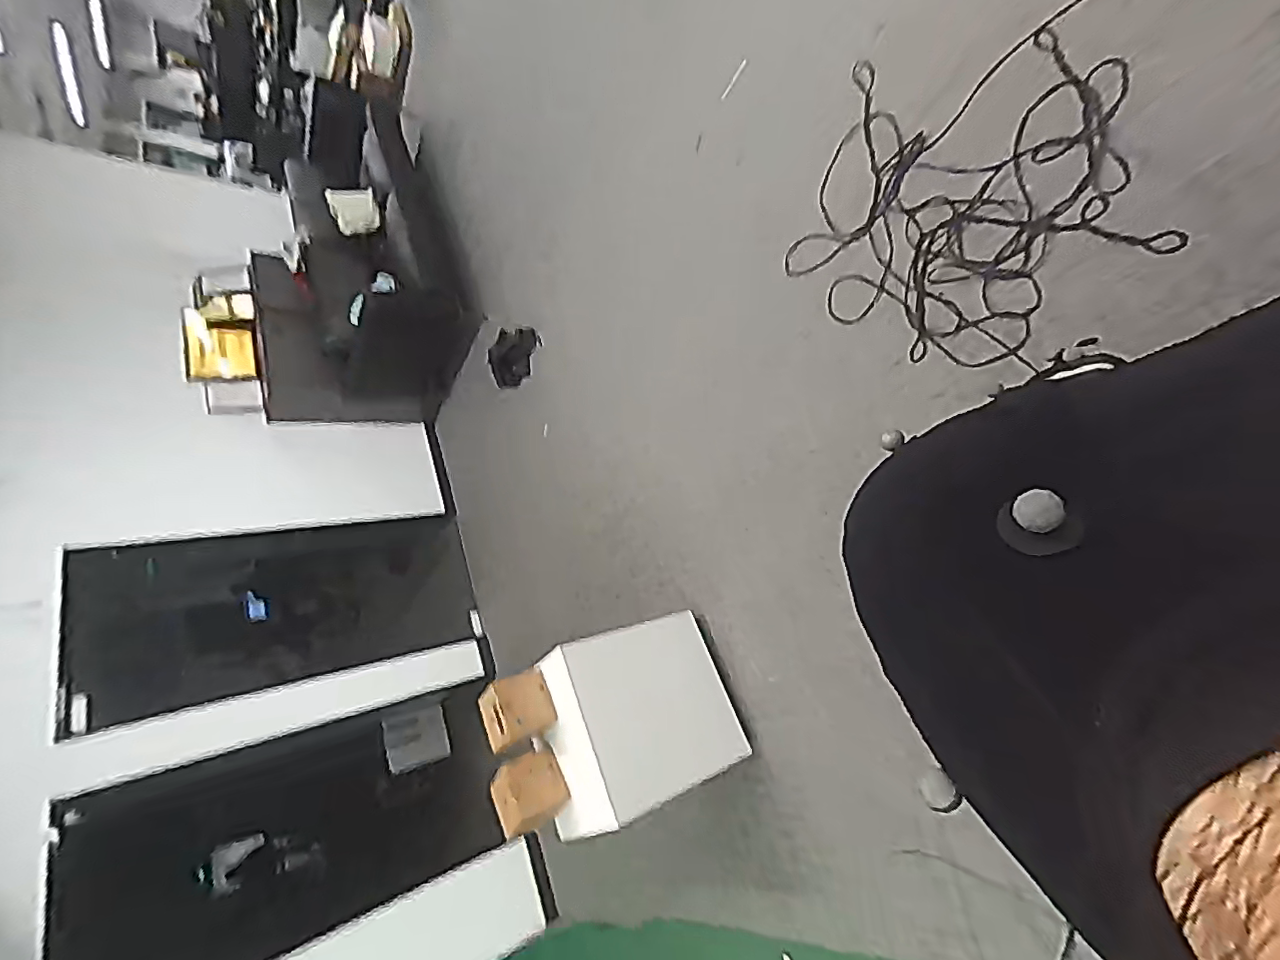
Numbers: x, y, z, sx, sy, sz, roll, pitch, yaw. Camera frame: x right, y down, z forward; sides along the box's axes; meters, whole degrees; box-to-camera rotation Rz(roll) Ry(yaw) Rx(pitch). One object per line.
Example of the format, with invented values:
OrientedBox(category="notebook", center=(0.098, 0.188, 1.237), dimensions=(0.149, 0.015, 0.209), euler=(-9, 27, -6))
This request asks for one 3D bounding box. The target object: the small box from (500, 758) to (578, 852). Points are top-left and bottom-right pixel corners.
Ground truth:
OrientedBox(category="small box", center=(-0.312, 1.002, 1.681), dimensions=(0.168, 0.176, 0.179), euler=(53, 132, 36))
